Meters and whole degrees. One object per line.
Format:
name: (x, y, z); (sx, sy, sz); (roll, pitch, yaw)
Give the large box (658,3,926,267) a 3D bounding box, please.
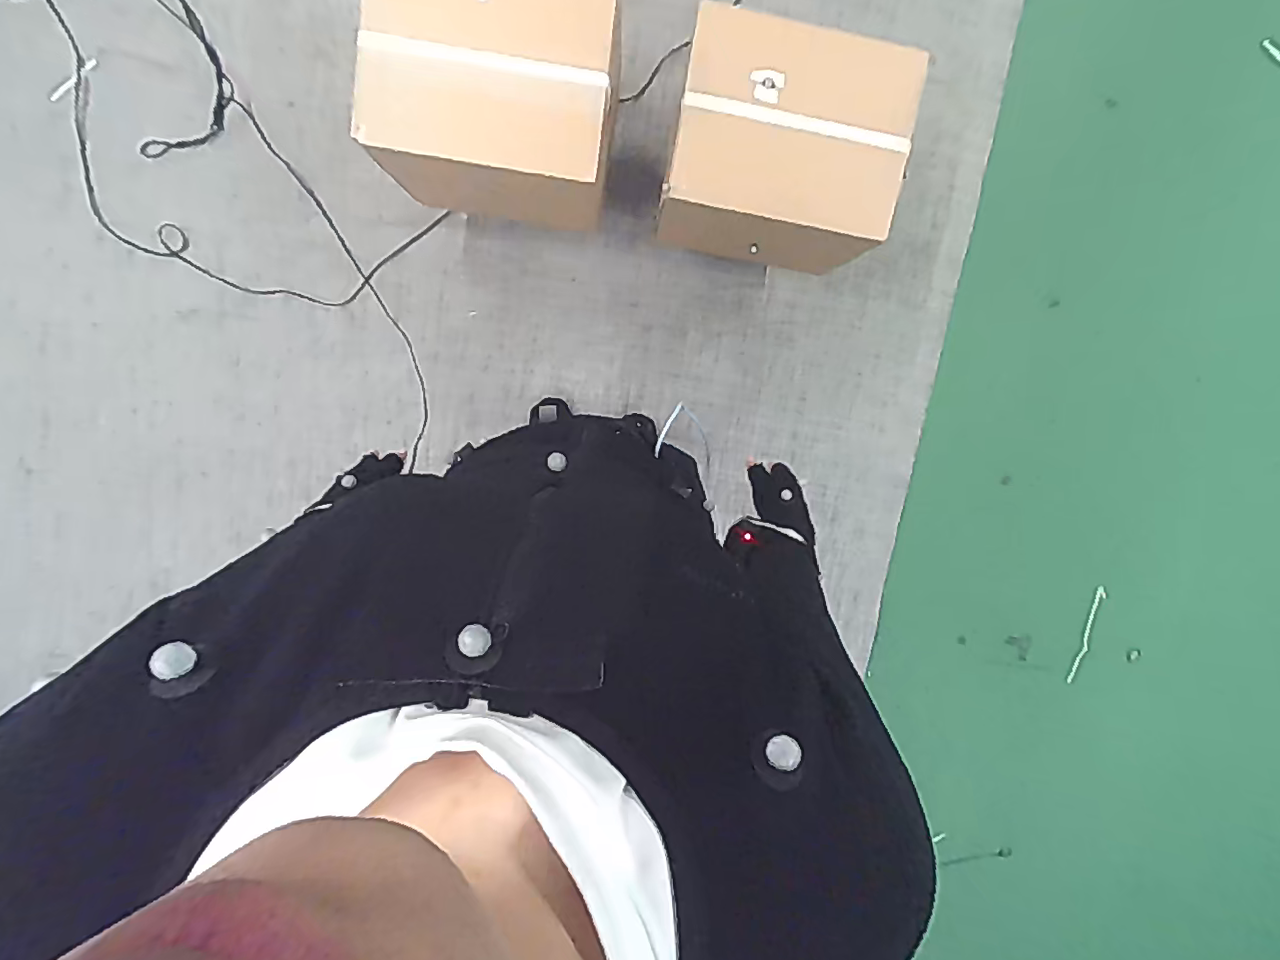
large box: (0.268, -0.646, 1.086); (0.408, 0.320, 0.320); (10, 99, -4)
